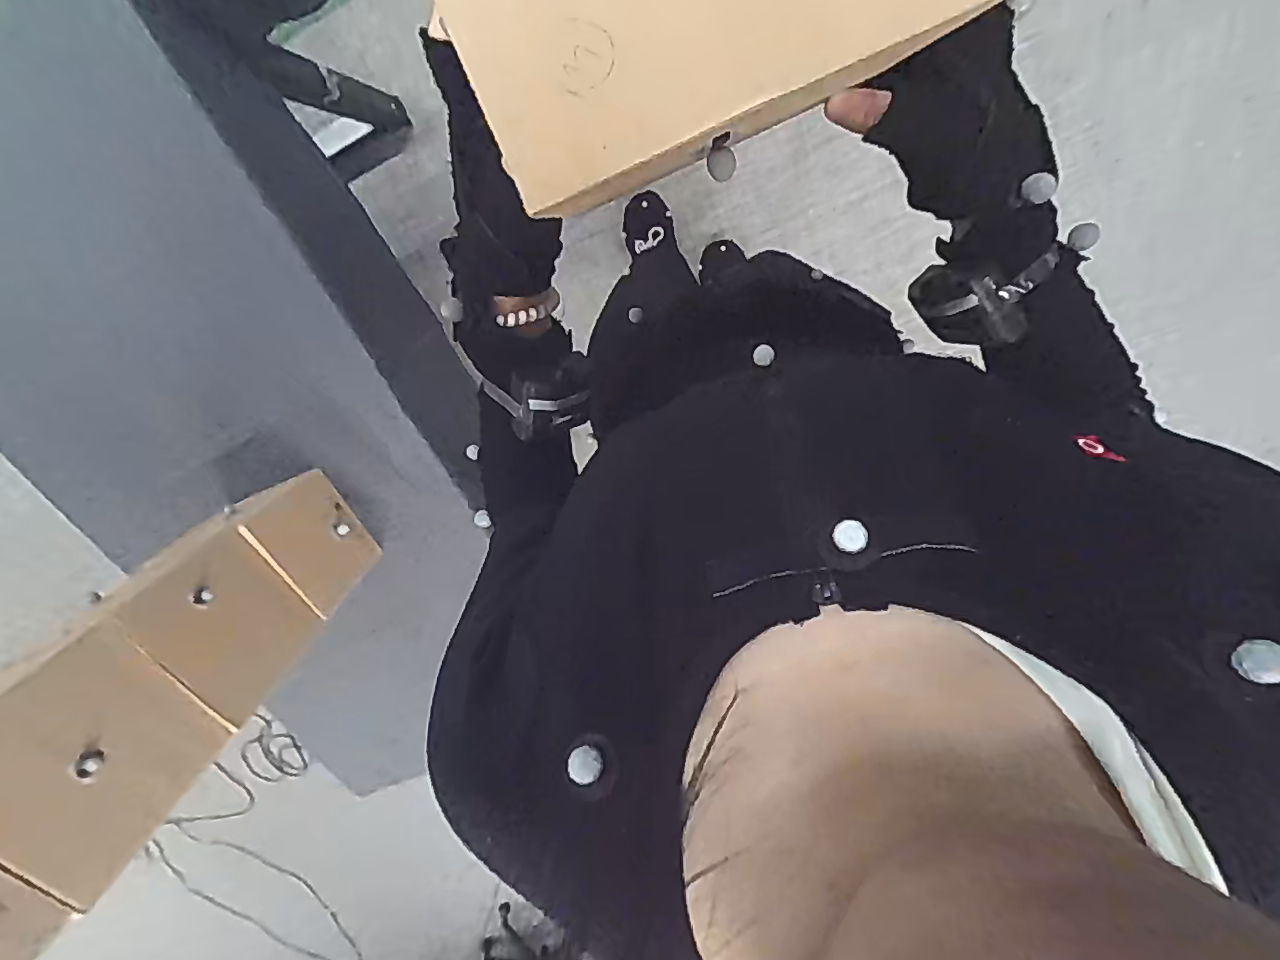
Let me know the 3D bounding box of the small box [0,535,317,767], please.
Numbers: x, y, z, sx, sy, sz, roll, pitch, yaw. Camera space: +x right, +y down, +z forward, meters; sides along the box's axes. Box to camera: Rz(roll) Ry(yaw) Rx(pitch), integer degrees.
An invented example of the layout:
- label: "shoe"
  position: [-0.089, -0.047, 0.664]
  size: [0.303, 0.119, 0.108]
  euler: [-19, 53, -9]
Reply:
- label: "small box"
  position: [-0.529, 0.184, 0.622]
  size: [0.168, 0.176, 0.179]
  euler: [-22, 113, 14]

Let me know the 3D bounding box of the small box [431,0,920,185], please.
- label: "small box"
  position: [0.006, -0.237, 0.217]
  size: [0.179, 0.176, 0.168]
  euler: [-19, 115, 10]

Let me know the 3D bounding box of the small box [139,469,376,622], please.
- label: "small box"
  position: [-0.521, 0.109, 0.766]
  size: [0.179, 0.176, 0.168]
  euler: [-21, 113, 11]
